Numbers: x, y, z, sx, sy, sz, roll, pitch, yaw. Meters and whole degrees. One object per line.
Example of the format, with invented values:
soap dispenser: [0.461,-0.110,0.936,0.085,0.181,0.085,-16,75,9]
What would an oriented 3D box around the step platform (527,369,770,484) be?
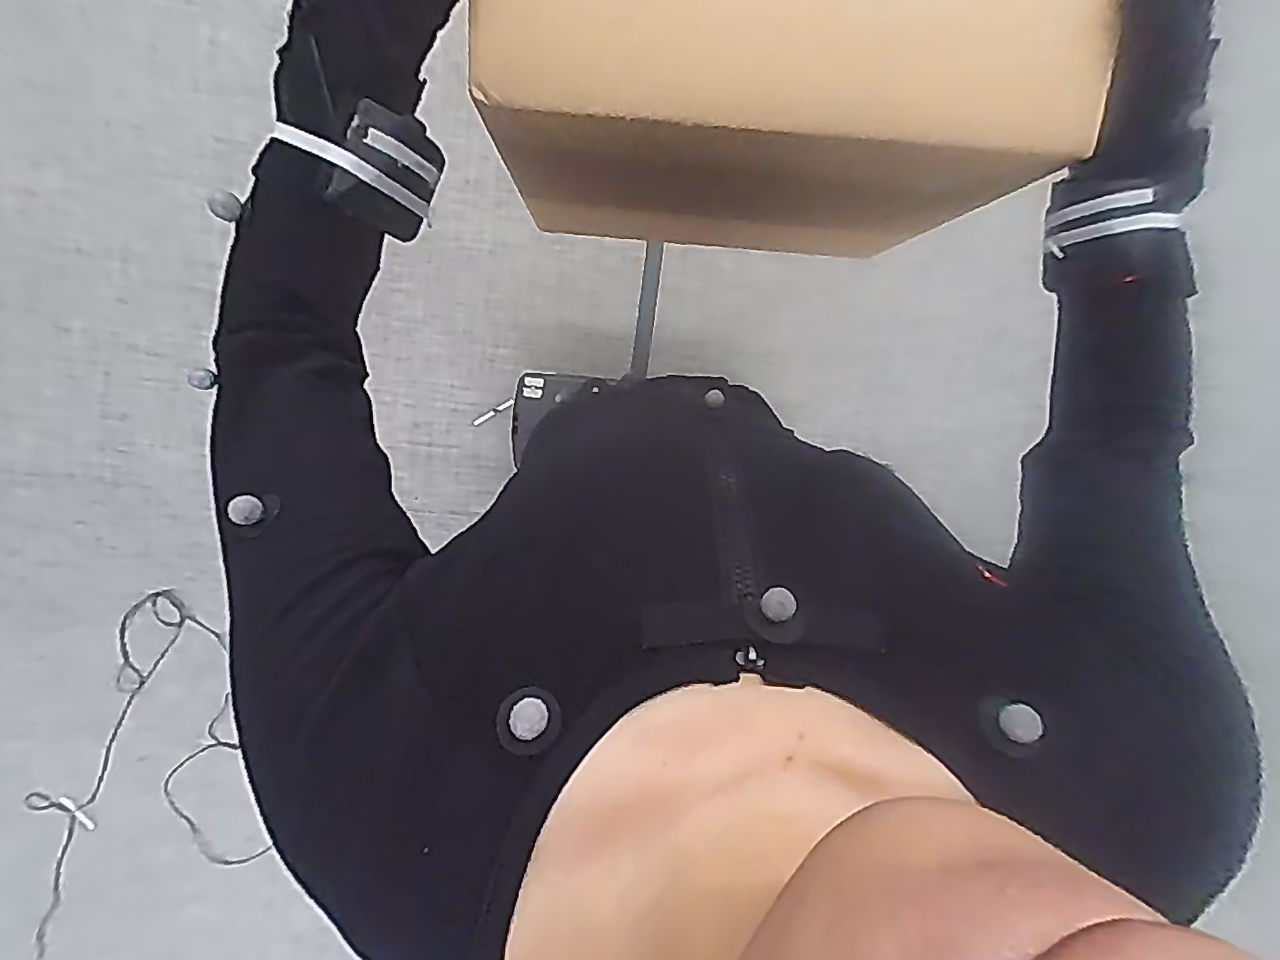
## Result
step platform: [0.023,-0.154,1.558,0.684,0.204,0.286,3,99,-5]

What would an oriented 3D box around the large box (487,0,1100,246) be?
large box: [0.095,-0.411,0.475,0.408,0.320,0.320,2,101,-4]
